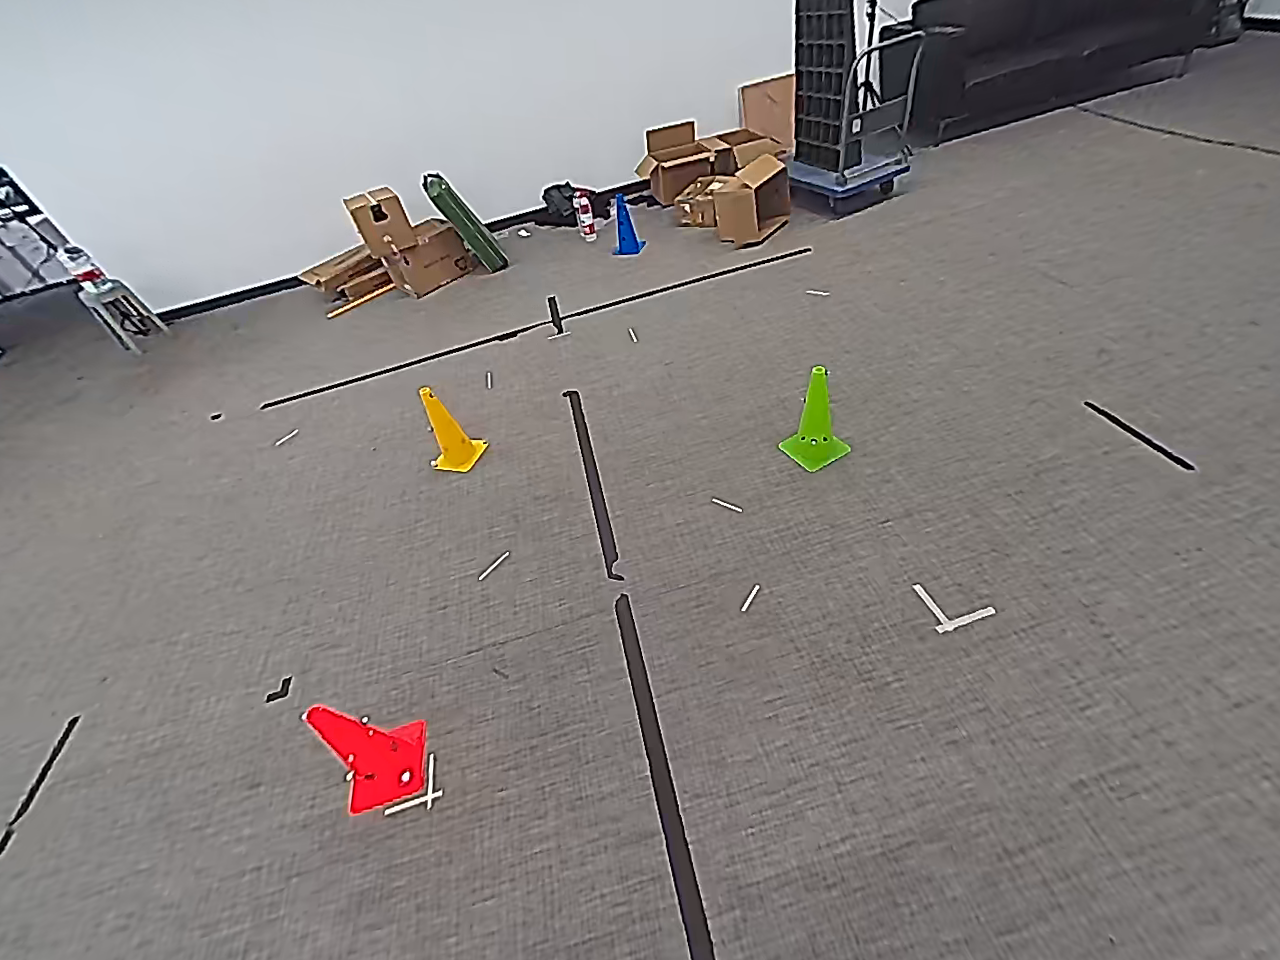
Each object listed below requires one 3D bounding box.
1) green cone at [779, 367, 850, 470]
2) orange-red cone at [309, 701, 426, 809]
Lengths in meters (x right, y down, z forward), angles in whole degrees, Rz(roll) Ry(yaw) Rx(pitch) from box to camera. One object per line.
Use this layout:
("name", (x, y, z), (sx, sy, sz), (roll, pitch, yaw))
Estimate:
("green cone", (0.634, -0.247, 1.943), (0.200, 0.368, 0.202), (-28, 46, -13))
("orange-red cone", (-0.718, 0.652, 1.365), (0.198, 0.360, 0.199), (-16, 42, -3))
